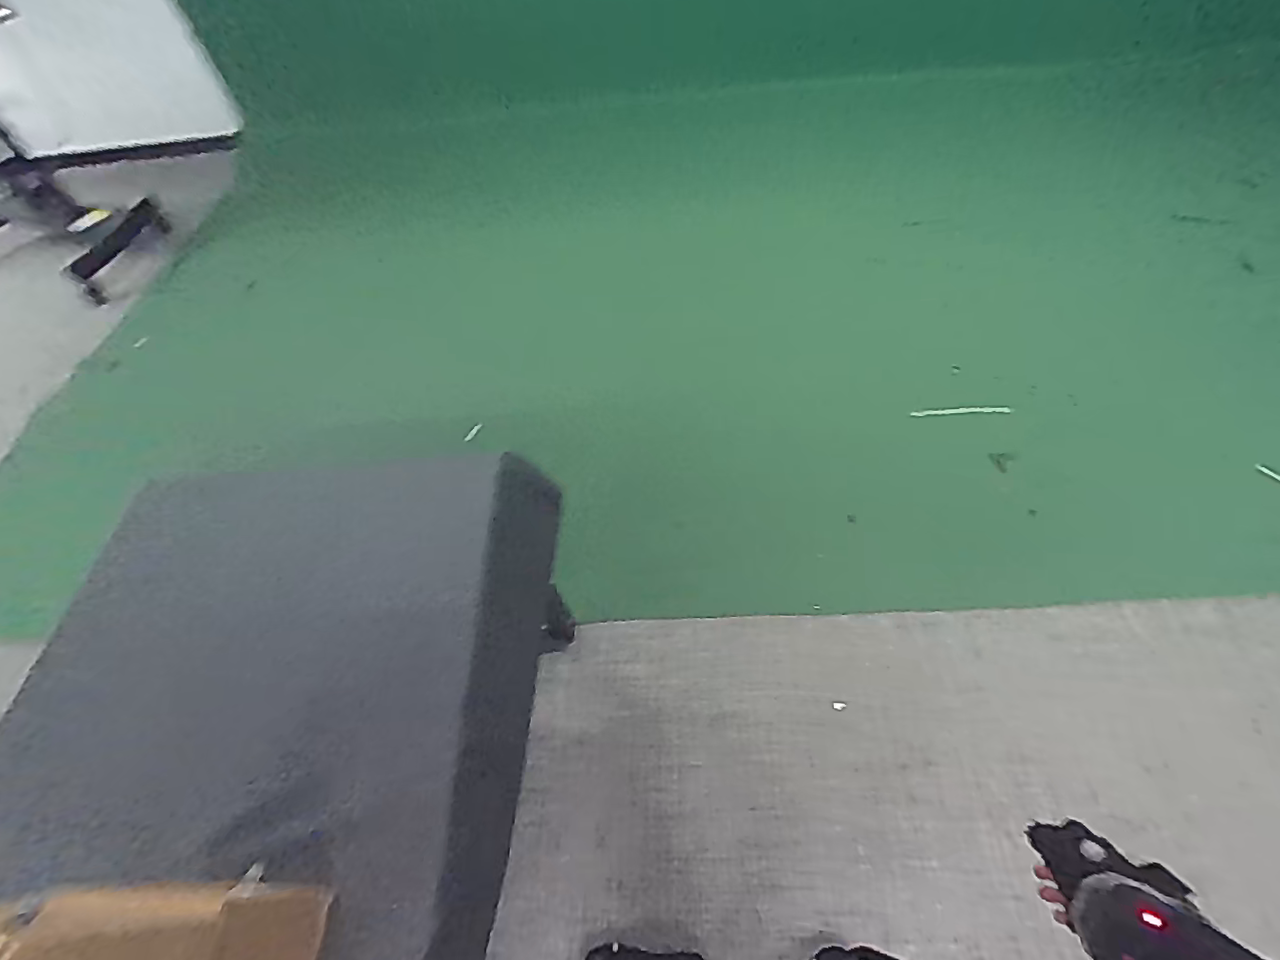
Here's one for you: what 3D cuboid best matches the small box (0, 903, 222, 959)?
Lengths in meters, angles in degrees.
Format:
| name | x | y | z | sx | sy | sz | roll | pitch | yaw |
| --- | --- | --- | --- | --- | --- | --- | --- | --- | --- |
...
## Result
| name | x | y | z | sx | sy | sz | roll | pitch | yaw |
| --- | --- | --- | --- | --- | --- | --- | --- | --- | --- |
| small box | -0.415 | 0.366 | 0.326 | 0.179 | 0.176 | 0.168 | -1 | 55 | 3 |

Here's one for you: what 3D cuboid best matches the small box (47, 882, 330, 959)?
| name | x | y | z | sx | sy | sz | roll | pitch | yaw |
| --- | --- | --- | --- | --- | --- | --- | --- | --- | --- |
| small box | -0.404 | 0.457 | 0.462 | 0.168 | 0.176 | 0.179 | -2 | 54 | 3 |
